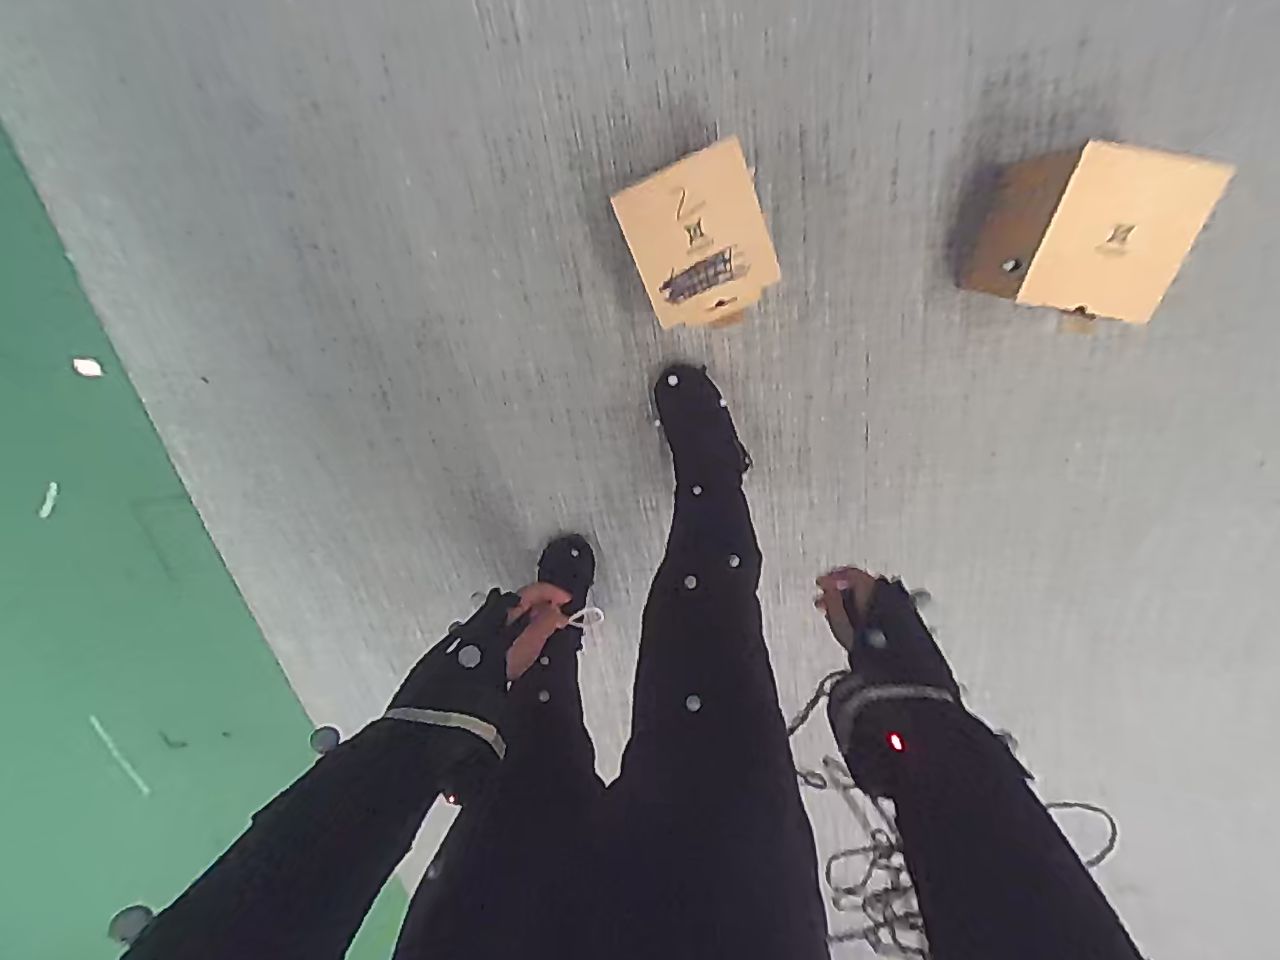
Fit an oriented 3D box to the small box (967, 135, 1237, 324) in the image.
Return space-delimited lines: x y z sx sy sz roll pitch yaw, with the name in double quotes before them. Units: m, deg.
"small box" 0.562 -0.315 0.694 0.168 0.176 0.179 11 116 1
